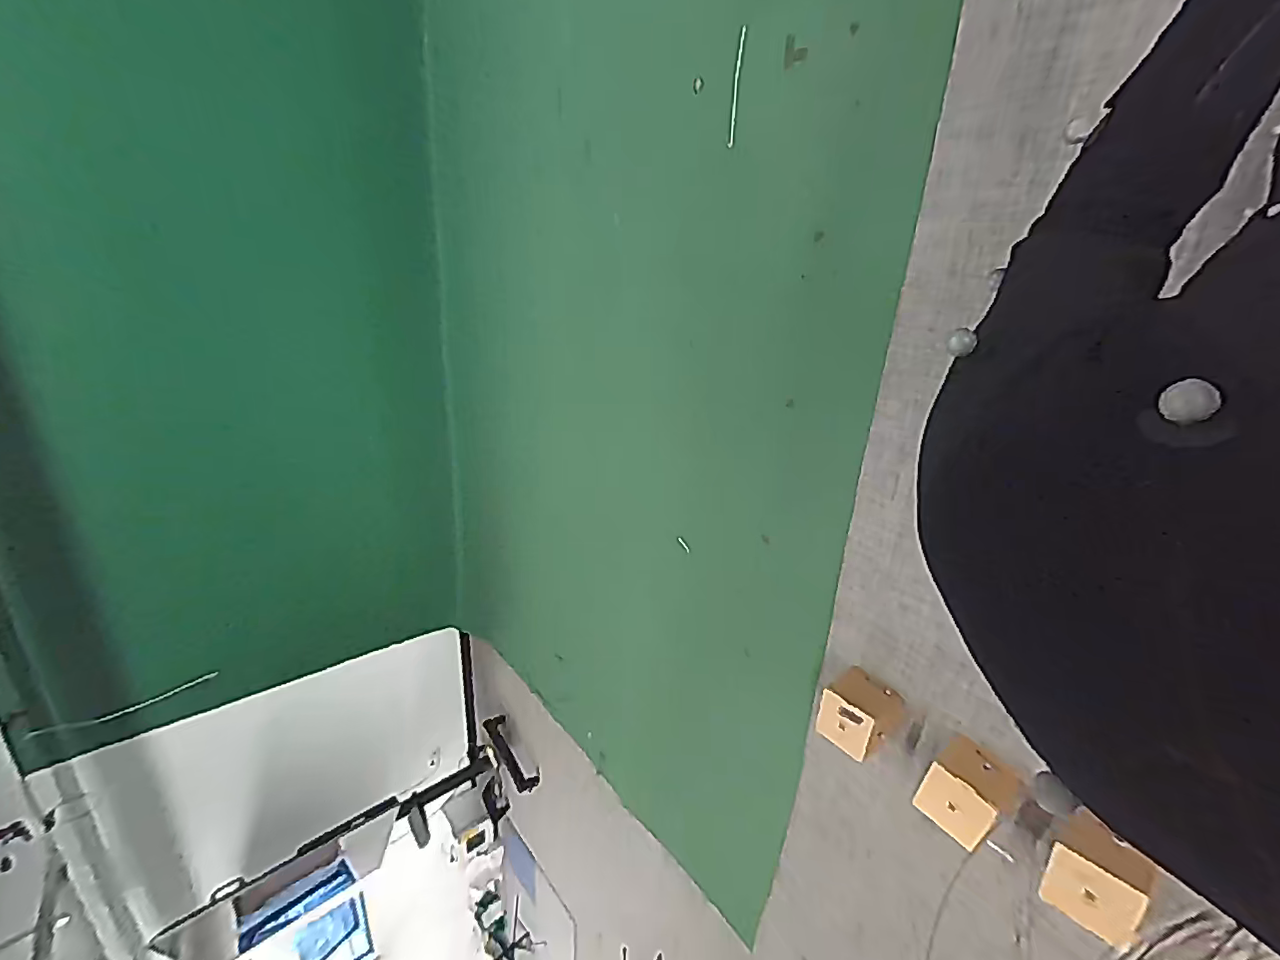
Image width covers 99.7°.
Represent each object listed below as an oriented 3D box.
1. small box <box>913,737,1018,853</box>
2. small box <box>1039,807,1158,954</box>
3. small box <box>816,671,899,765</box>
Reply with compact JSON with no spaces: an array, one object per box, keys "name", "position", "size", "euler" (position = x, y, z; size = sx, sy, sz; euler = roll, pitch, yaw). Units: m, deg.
[{"name":"small box","position":[0.881,0.842,1.460],"size":[0.168,0.176,0.179],"euler":[32,123,42]},{"name":"small box","position":[1.065,0.916,1.255],"size":[0.168,0.176,0.179],"euler":[20,114,44]},{"name":"small box","position":[0.677,0.728,1.677],"size":[0.168,0.176,0.179],"euler":[27,121,44]}]
